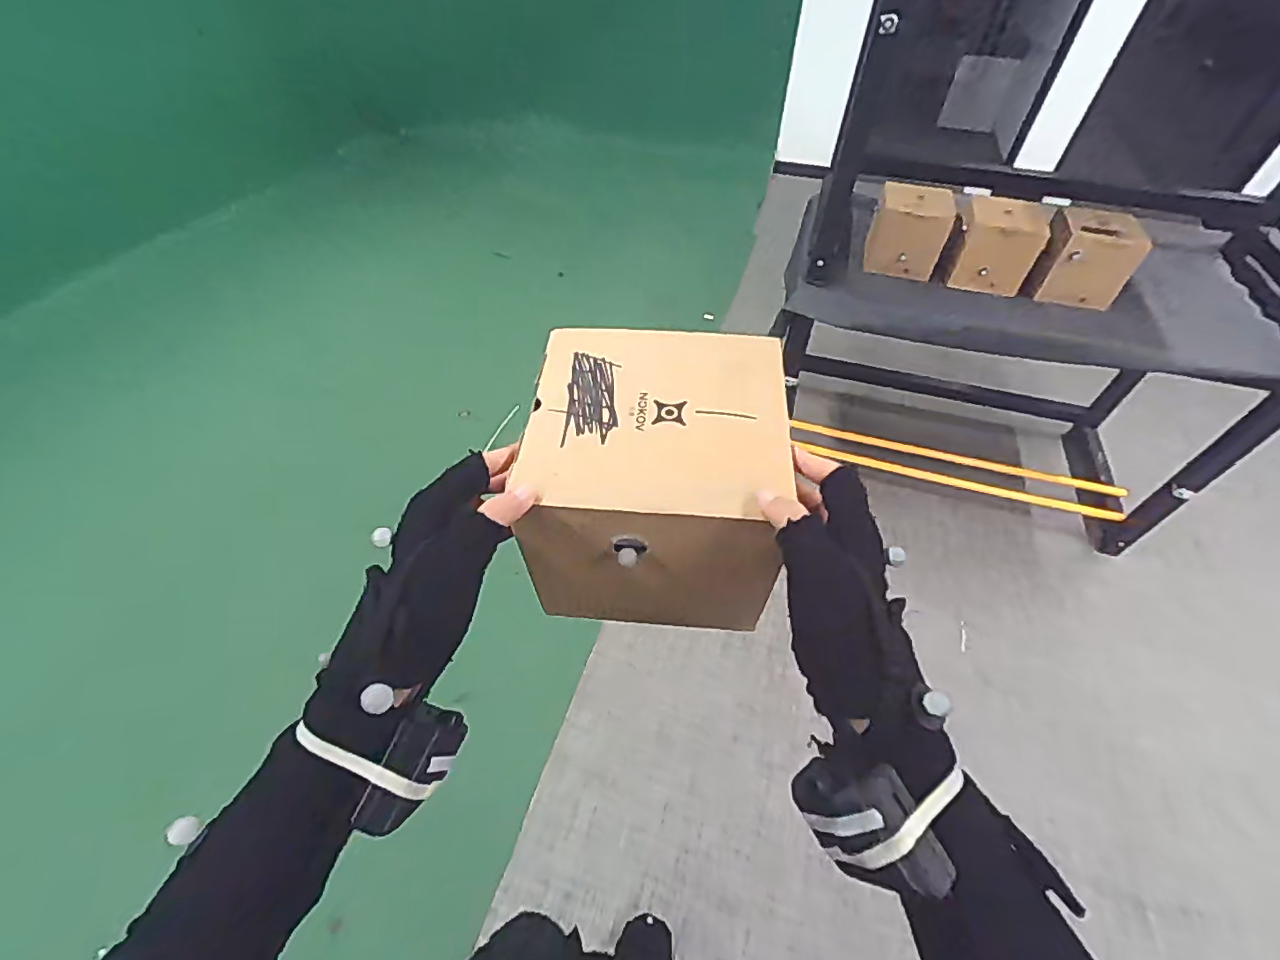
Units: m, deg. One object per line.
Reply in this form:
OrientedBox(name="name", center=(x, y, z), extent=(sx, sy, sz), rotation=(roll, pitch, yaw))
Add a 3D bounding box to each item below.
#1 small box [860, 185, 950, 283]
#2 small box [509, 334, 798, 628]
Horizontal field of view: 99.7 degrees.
OrientedBox(name="small box", center=(0.691, -0.648, 1.424), extent=(0.168, 0.176, 0.179), rotation=(13, 50, 11))
OrientedBox(name="small box", center=(0.015, 0.006, 0.429), extent=(0.179, 0.176, 0.168), rotation=(4, 53, 3))
